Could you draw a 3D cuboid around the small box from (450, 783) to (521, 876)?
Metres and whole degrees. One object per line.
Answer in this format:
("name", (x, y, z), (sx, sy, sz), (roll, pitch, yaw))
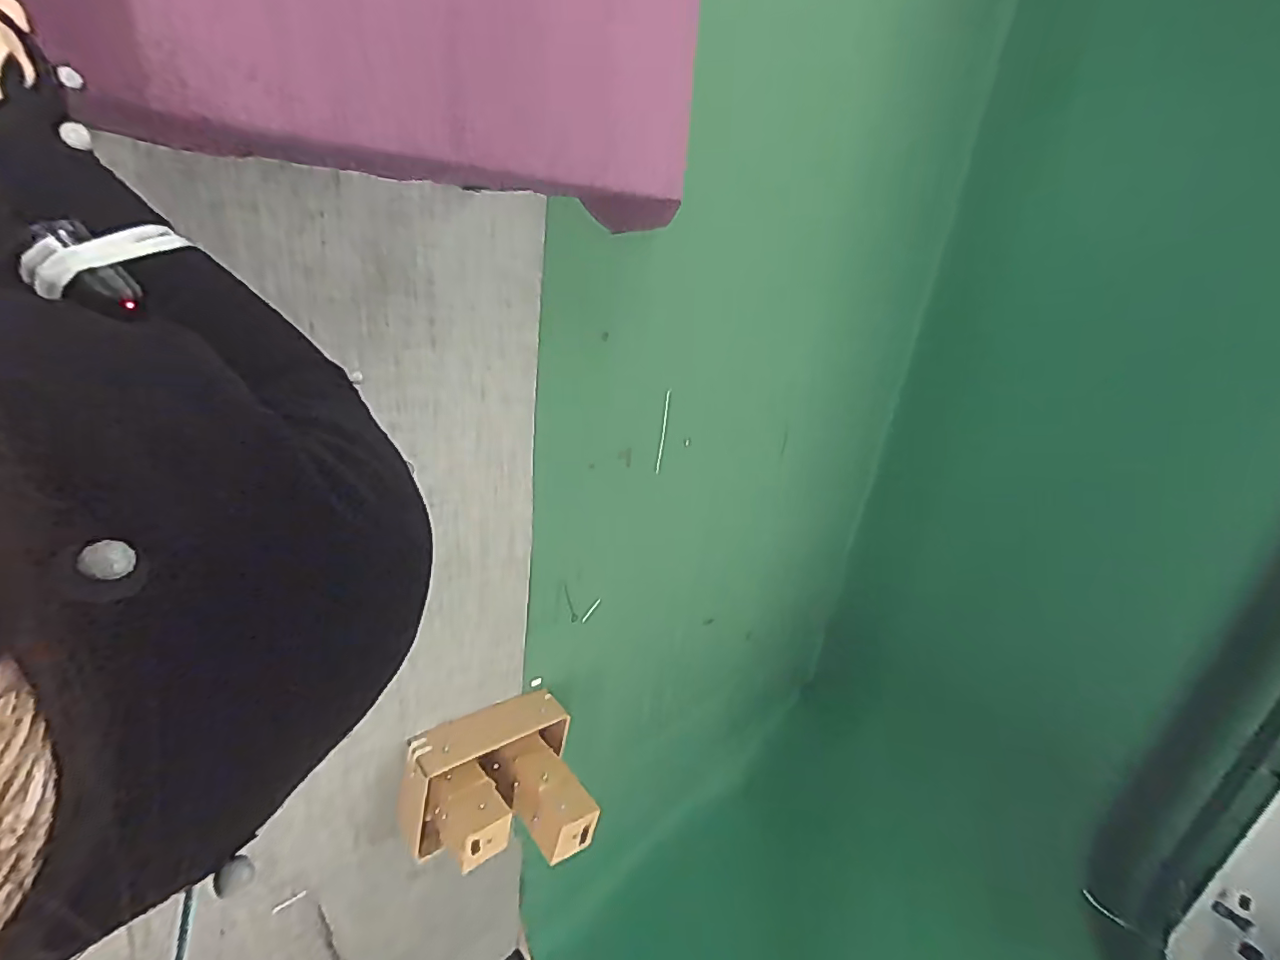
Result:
("small box", (-0.545, 1.212, 1.888), (0.179, 0.176, 0.168), (-6, 113, -45))

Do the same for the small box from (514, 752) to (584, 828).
("small box", (-0.351, 1.177, 2.071), (0.179, 0.176, 0.168), (12, 101, -45))
